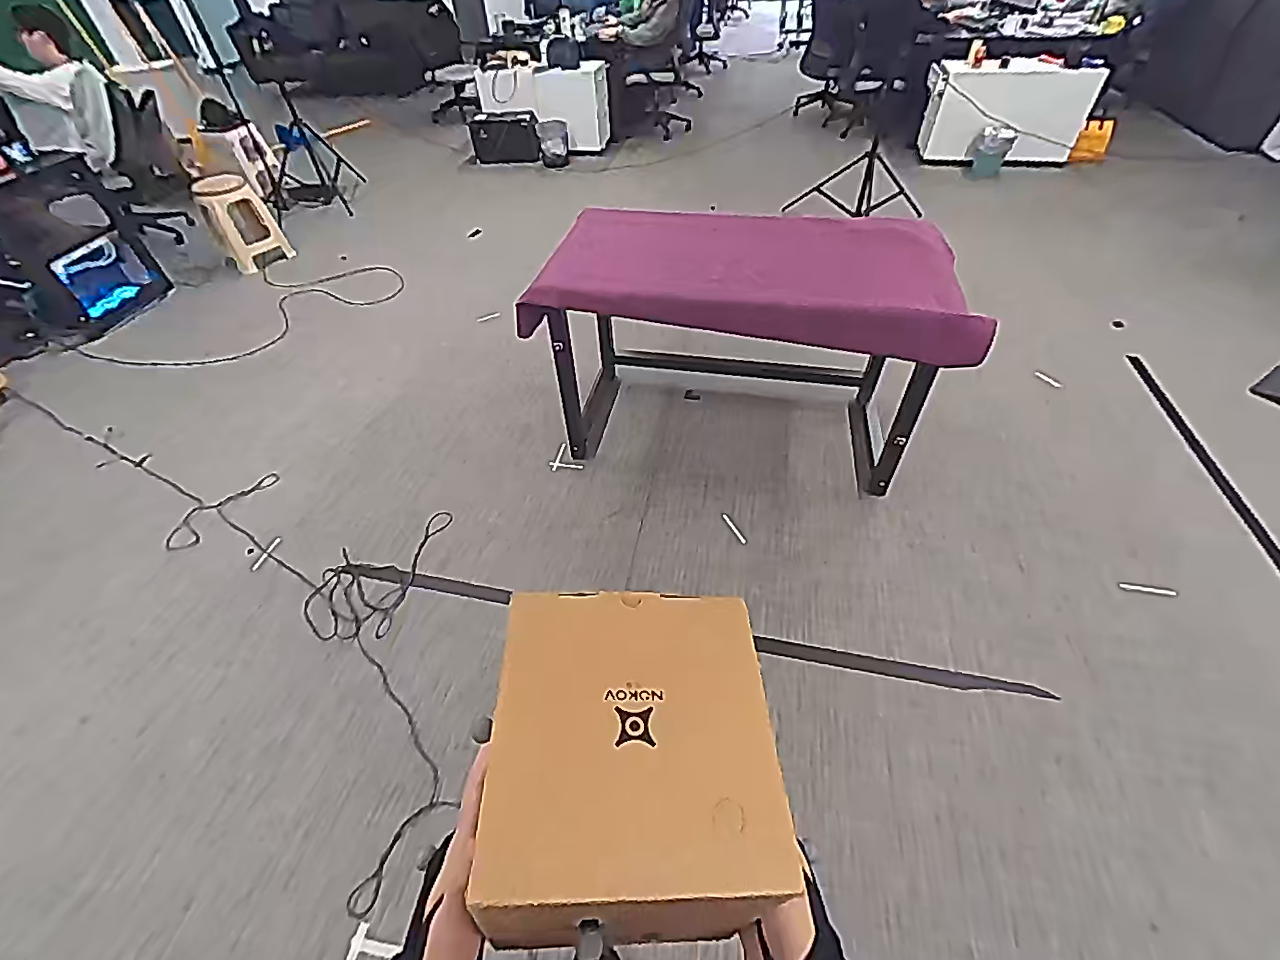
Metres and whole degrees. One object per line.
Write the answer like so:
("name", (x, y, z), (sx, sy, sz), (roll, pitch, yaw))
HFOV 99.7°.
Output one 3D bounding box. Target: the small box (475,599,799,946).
("small box", (-0.010, 0.204, 0.379), (0.168, 0.176, 0.179), (2, 42, -6))
